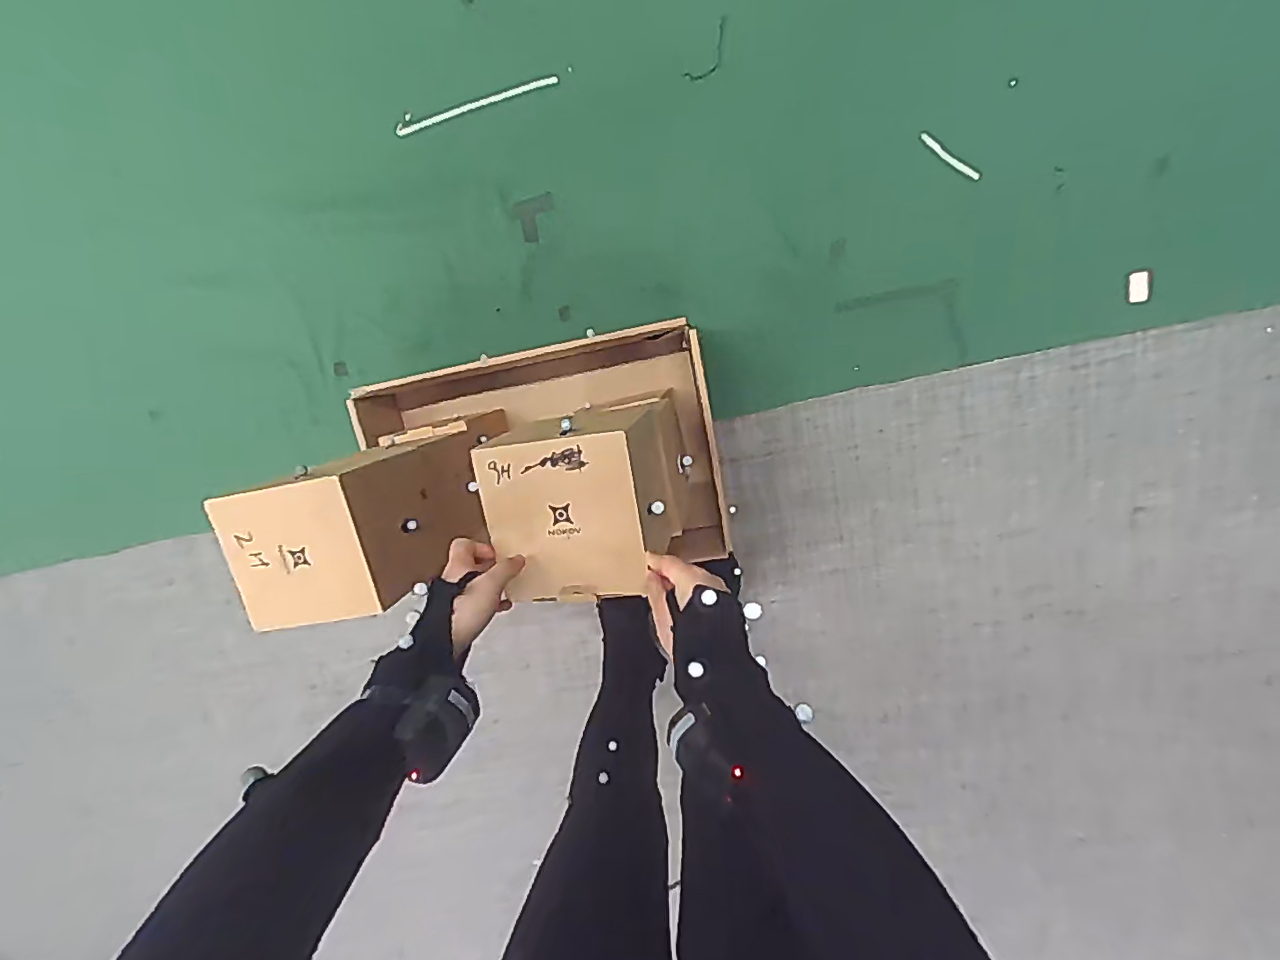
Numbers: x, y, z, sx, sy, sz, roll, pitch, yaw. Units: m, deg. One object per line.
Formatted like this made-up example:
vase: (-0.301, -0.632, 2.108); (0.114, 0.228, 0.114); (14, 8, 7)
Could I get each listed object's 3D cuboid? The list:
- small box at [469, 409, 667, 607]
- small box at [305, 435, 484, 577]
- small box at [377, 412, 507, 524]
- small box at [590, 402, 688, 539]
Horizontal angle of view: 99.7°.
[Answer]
small box: (-0.067, 0.026, 0.627); (0.168, 0.176, 0.179); (-6, 106, 12)
small box: (-0.365, 0.033, 0.842); (0.179, 0.176, 0.168); (-10, 103, 9)
small box: (-0.340, -0.017, 0.996); (0.168, 0.176, 0.179); (-11, 103, 10)
small box: (-0.035, -0.009, 0.784); (0.179, 0.176, 0.168); (-11, 104, 12)
